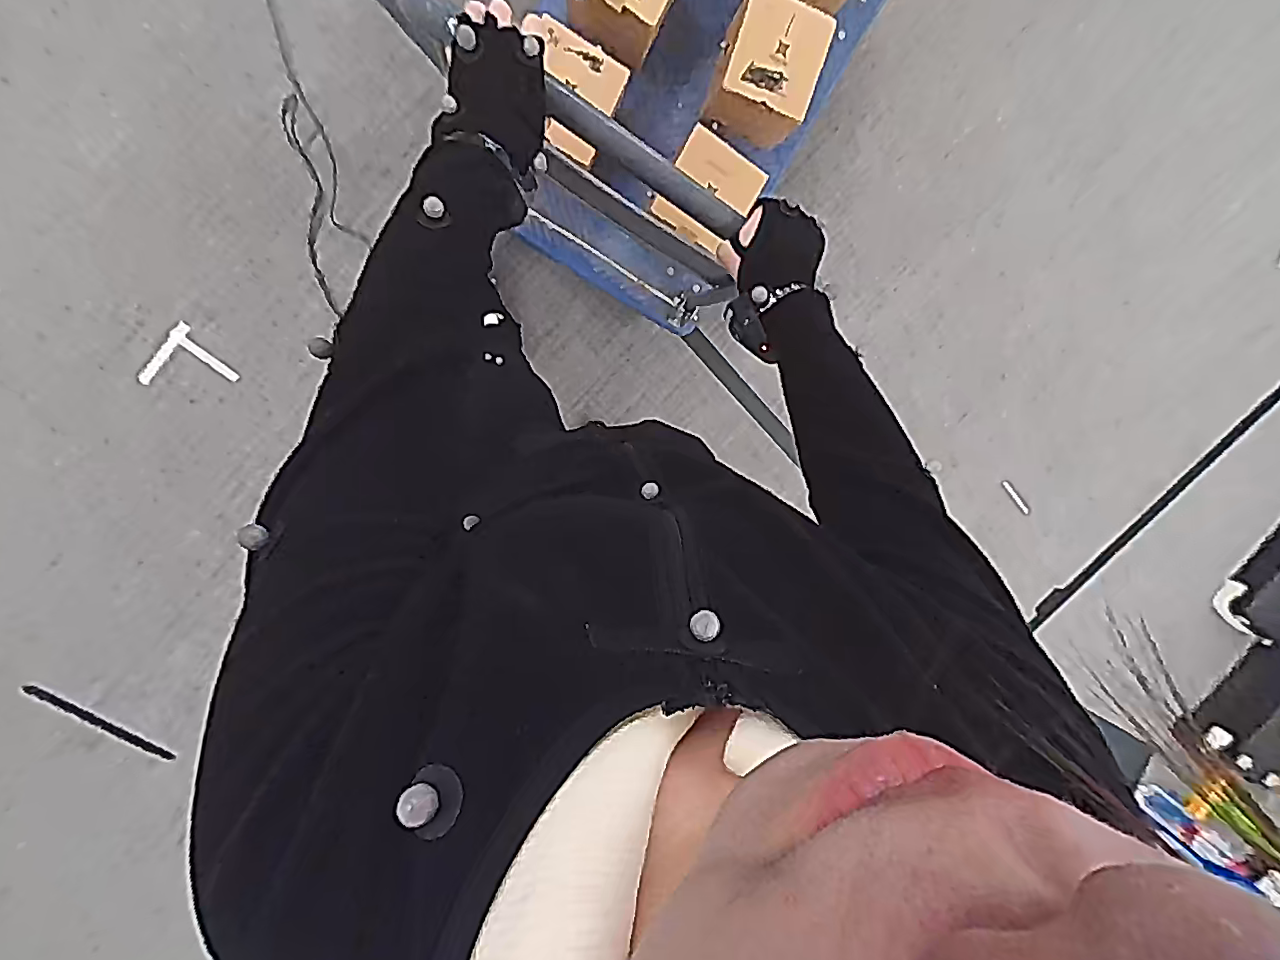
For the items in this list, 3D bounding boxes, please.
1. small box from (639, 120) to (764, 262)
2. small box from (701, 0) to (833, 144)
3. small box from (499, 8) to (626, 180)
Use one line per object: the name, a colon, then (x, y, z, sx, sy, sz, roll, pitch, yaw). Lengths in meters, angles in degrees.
small box: (0.111, -0.563, 1.086, 0.168, 0.176, 0.179, 29, 98, -17)
small box: (0.231, -0.787, 1.041, 0.168, 0.176, 0.179, 16, 102, -14)
small box: (-0.144, -0.694, 1.002, 0.168, 0.176, 0.179, 25, 101, -17)
